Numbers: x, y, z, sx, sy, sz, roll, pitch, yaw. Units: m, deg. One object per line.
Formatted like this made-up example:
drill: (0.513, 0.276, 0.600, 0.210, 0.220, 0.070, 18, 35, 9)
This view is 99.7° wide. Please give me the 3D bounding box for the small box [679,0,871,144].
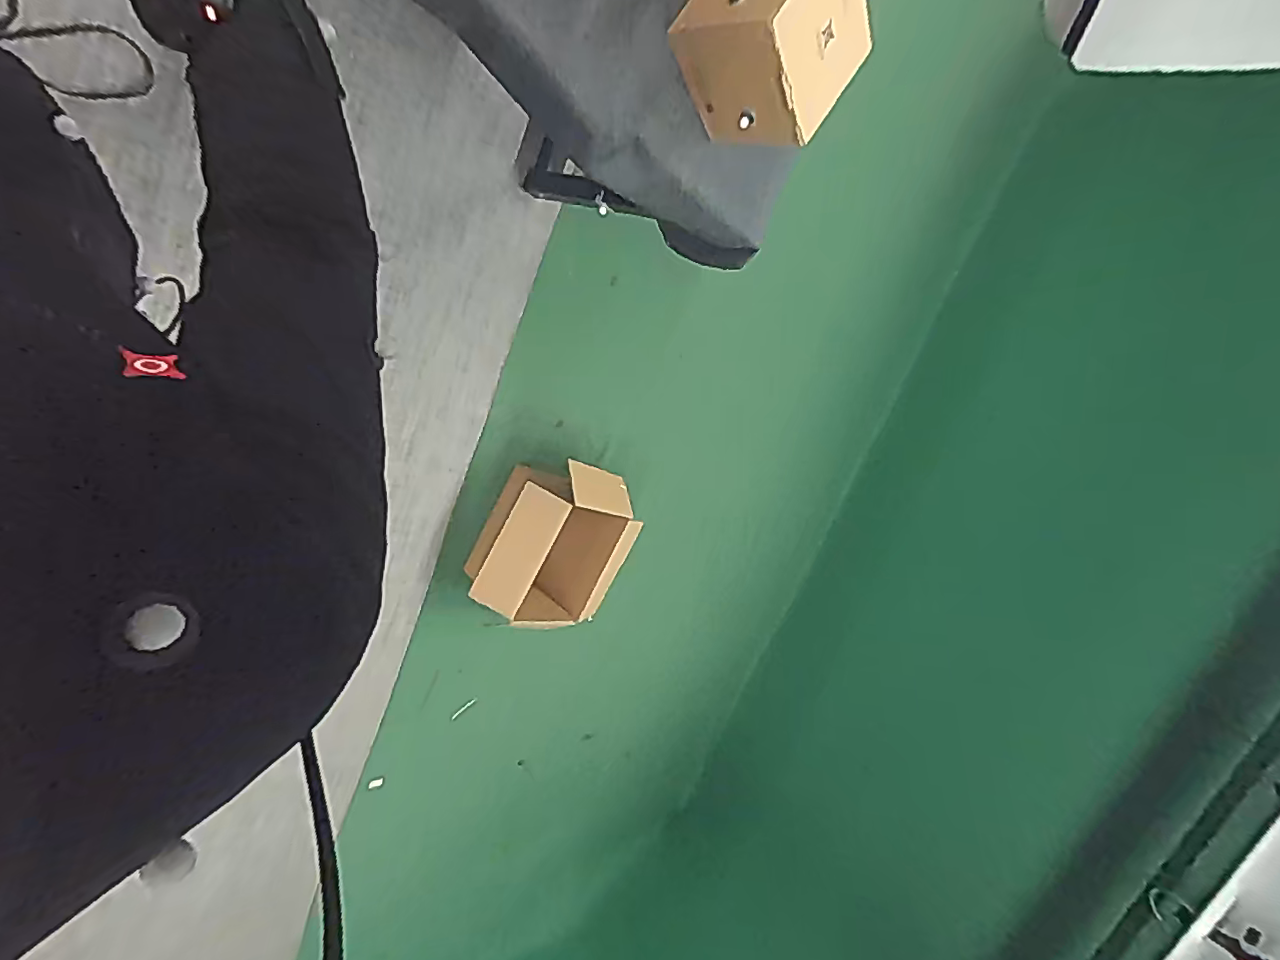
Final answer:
small box: (0.174, -0.580, 0.713, 0.179, 0.176, 0.168, -57, 144, -4)
